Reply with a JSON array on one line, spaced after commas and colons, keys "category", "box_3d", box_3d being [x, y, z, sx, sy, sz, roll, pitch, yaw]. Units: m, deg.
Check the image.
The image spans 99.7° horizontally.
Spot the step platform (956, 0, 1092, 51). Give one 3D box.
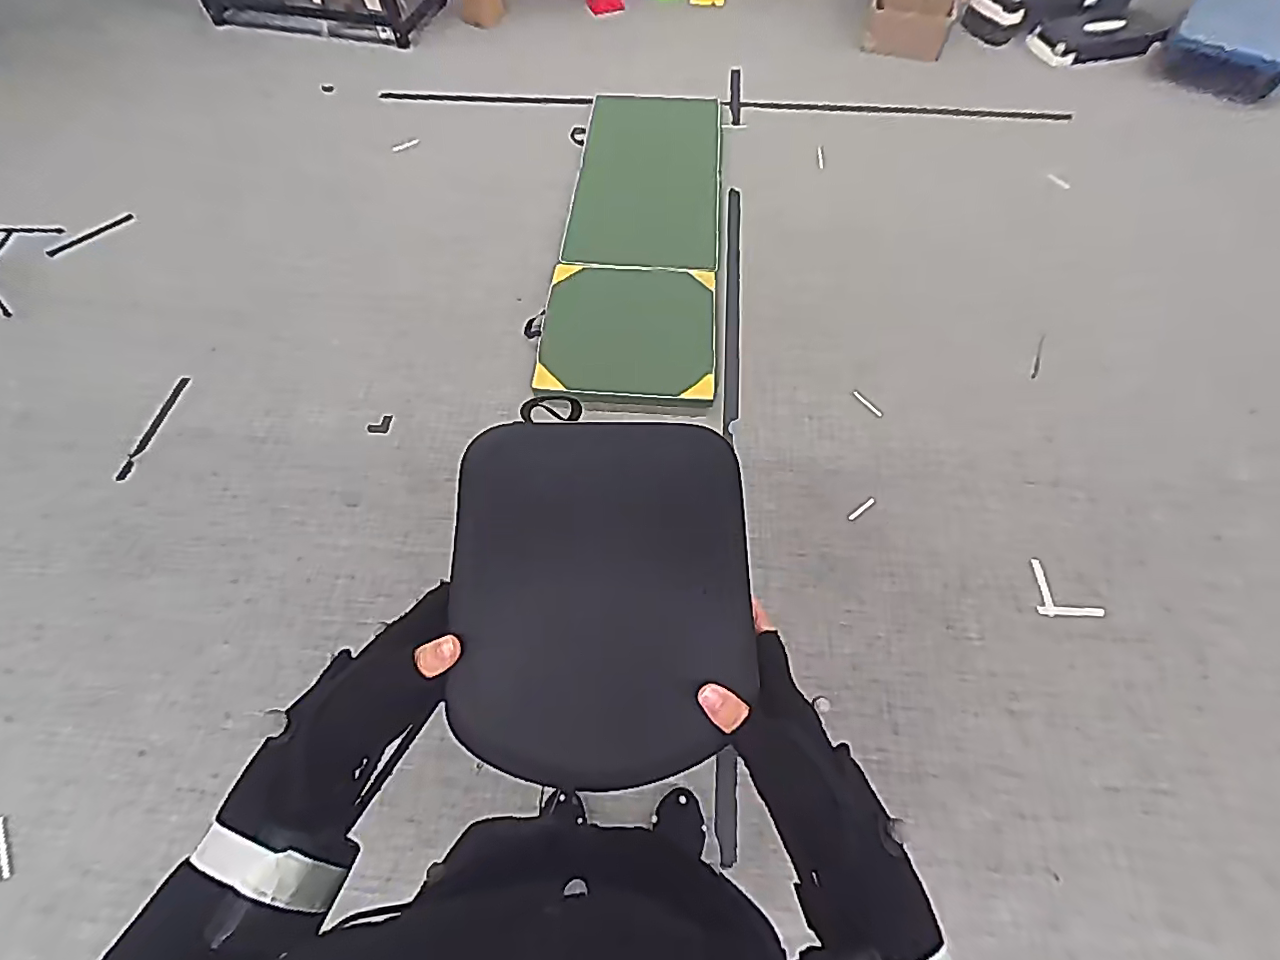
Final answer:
[{"category": "step platform", "box_3d": [2.107, -2.572, 2.949, 0.684, 0.204, 0.286, -23, 64, -11]}]
